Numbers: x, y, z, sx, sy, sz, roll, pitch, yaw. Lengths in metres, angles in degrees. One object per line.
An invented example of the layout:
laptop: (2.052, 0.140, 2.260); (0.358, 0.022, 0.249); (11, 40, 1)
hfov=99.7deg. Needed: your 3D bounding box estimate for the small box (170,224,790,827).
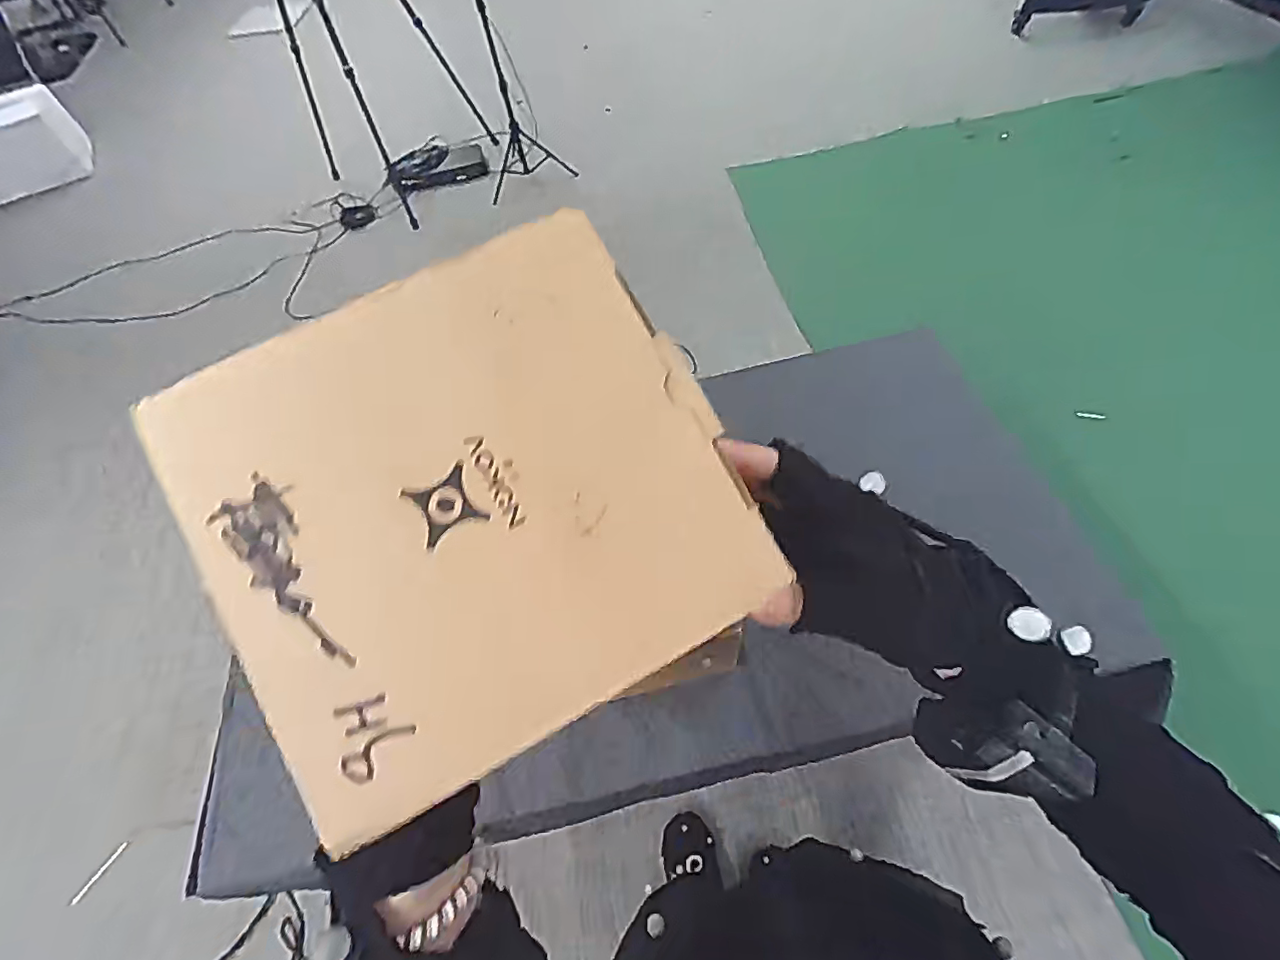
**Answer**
small box: (-0.062, 0.018, 0.274); (0.179, 0.176, 0.168); (-27, 82, -9)
